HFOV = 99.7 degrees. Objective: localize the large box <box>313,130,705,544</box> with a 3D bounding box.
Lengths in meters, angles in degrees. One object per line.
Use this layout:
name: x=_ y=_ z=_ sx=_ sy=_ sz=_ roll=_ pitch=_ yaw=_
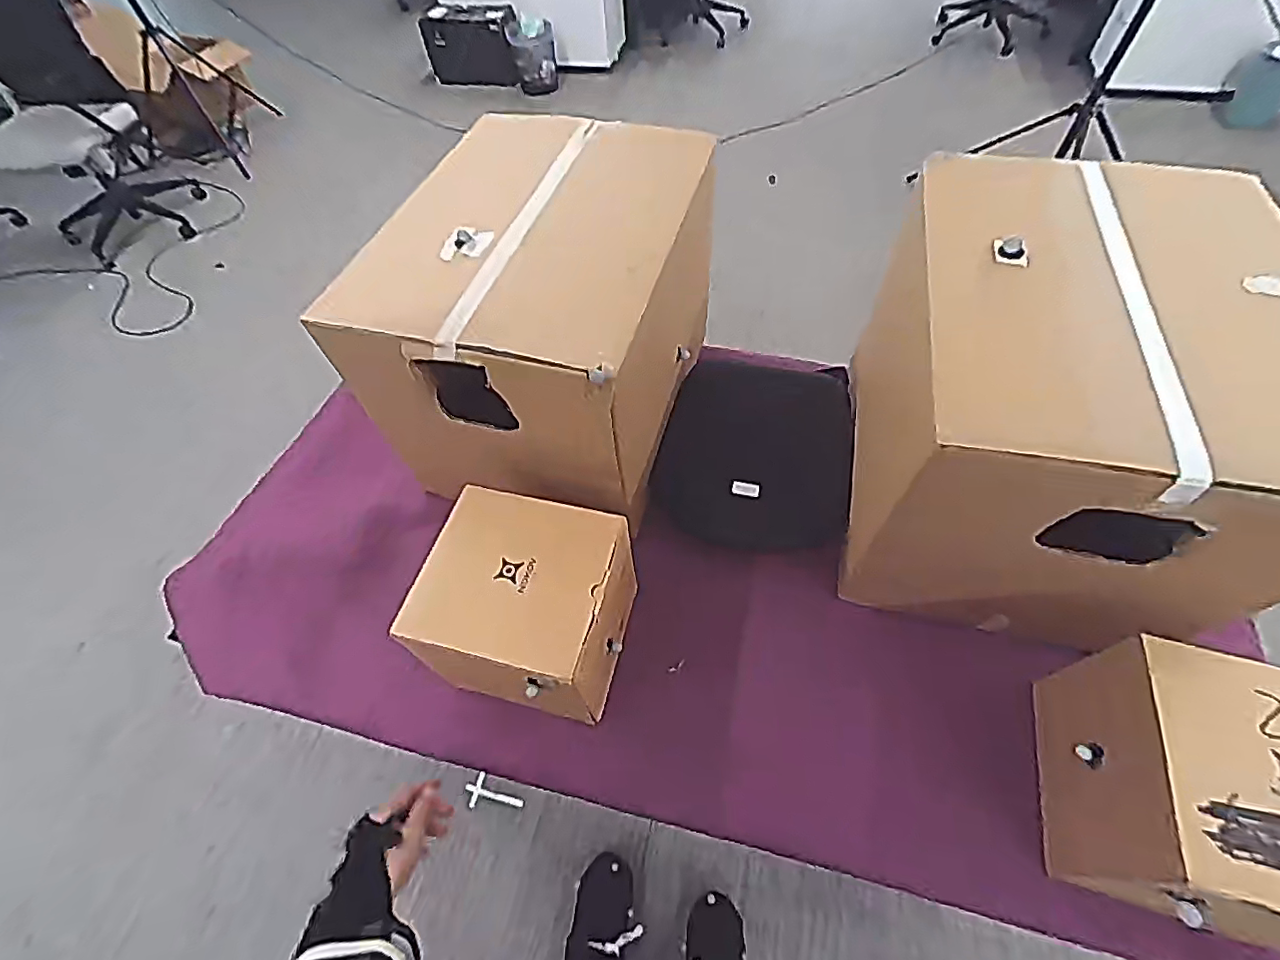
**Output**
large box: x=-0.109 y=-0.184 z=0.709 sx=0.320 sy=0.320 sz=0.408 roll=12 pitch=60 yaw=12
